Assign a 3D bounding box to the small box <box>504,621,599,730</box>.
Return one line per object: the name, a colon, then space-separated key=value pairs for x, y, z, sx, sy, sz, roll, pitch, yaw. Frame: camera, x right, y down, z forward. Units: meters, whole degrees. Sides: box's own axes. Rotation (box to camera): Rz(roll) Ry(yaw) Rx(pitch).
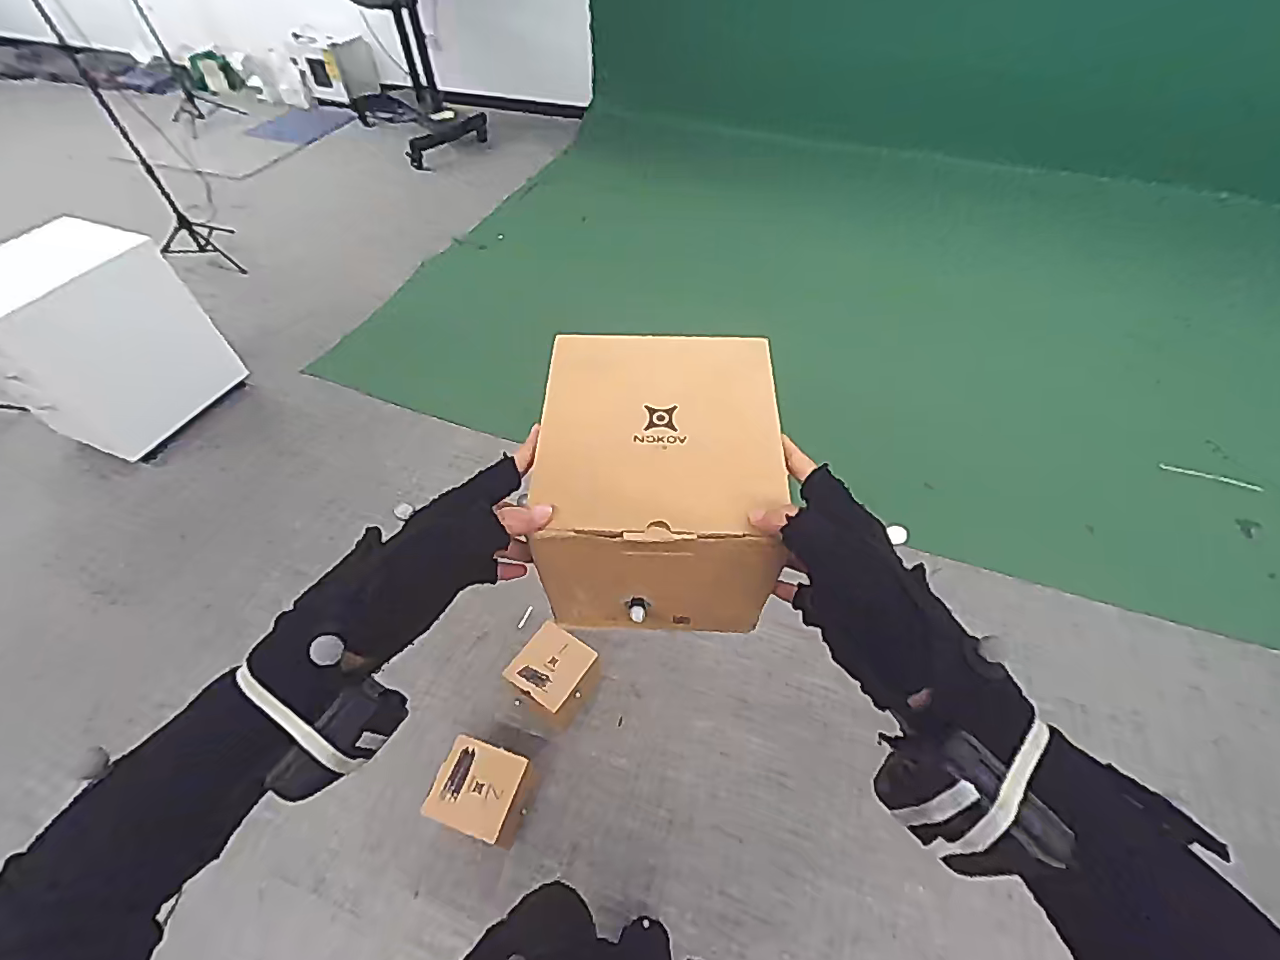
small box: x=-0.214 y=0.500 z=1.373 sx=0.168 sy=0.176 sz=0.179 roll=28 pitch=55 yaw=20
